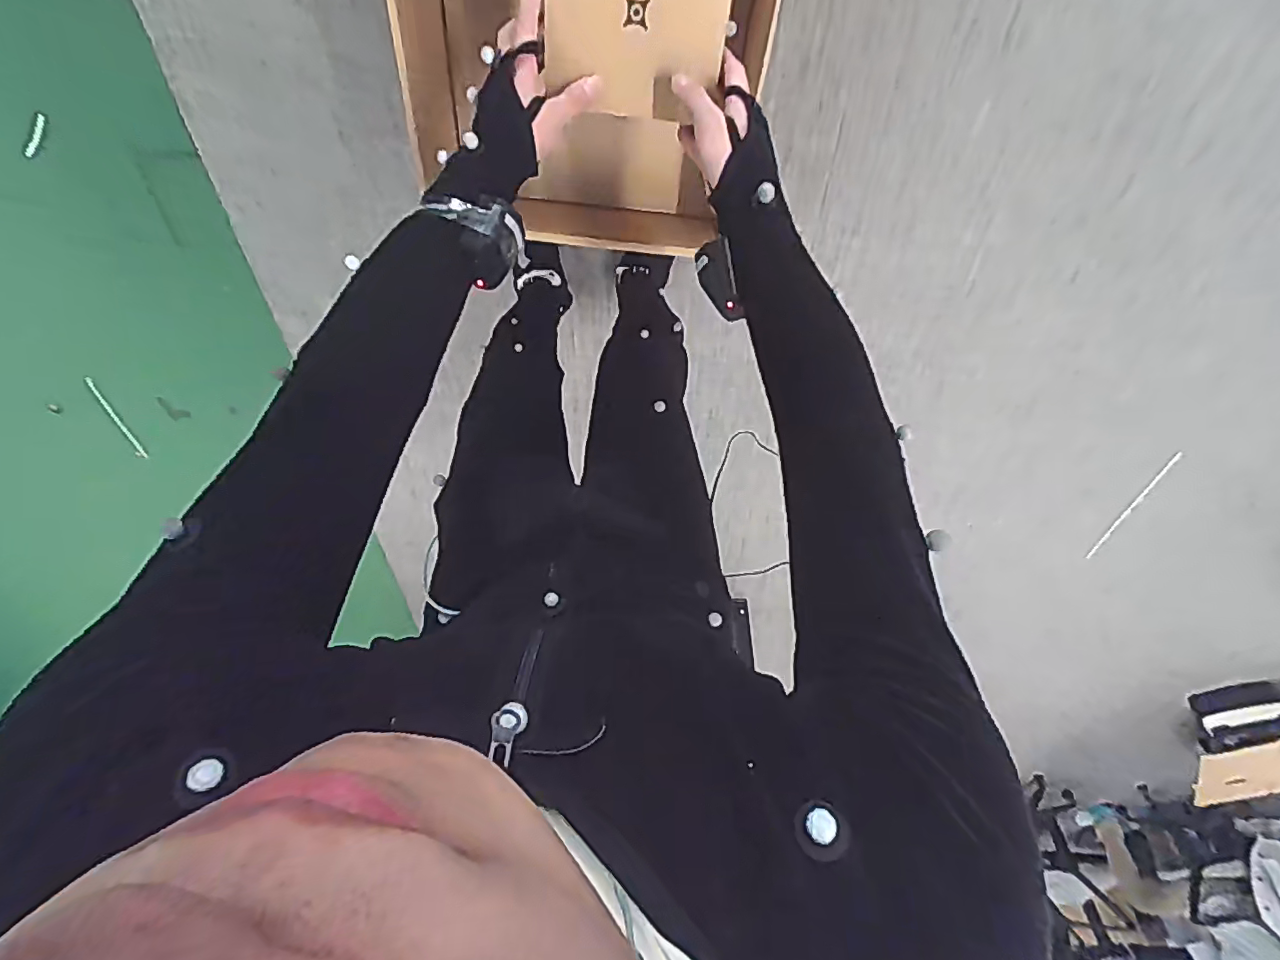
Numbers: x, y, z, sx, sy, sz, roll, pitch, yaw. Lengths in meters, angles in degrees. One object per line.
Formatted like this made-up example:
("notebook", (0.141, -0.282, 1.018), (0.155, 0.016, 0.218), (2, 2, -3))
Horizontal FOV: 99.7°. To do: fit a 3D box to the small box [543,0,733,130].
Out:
("small box", (-0.004, -0.470, 0.529), (0.168, 0.176, 0.179), (3, 131, -8))
